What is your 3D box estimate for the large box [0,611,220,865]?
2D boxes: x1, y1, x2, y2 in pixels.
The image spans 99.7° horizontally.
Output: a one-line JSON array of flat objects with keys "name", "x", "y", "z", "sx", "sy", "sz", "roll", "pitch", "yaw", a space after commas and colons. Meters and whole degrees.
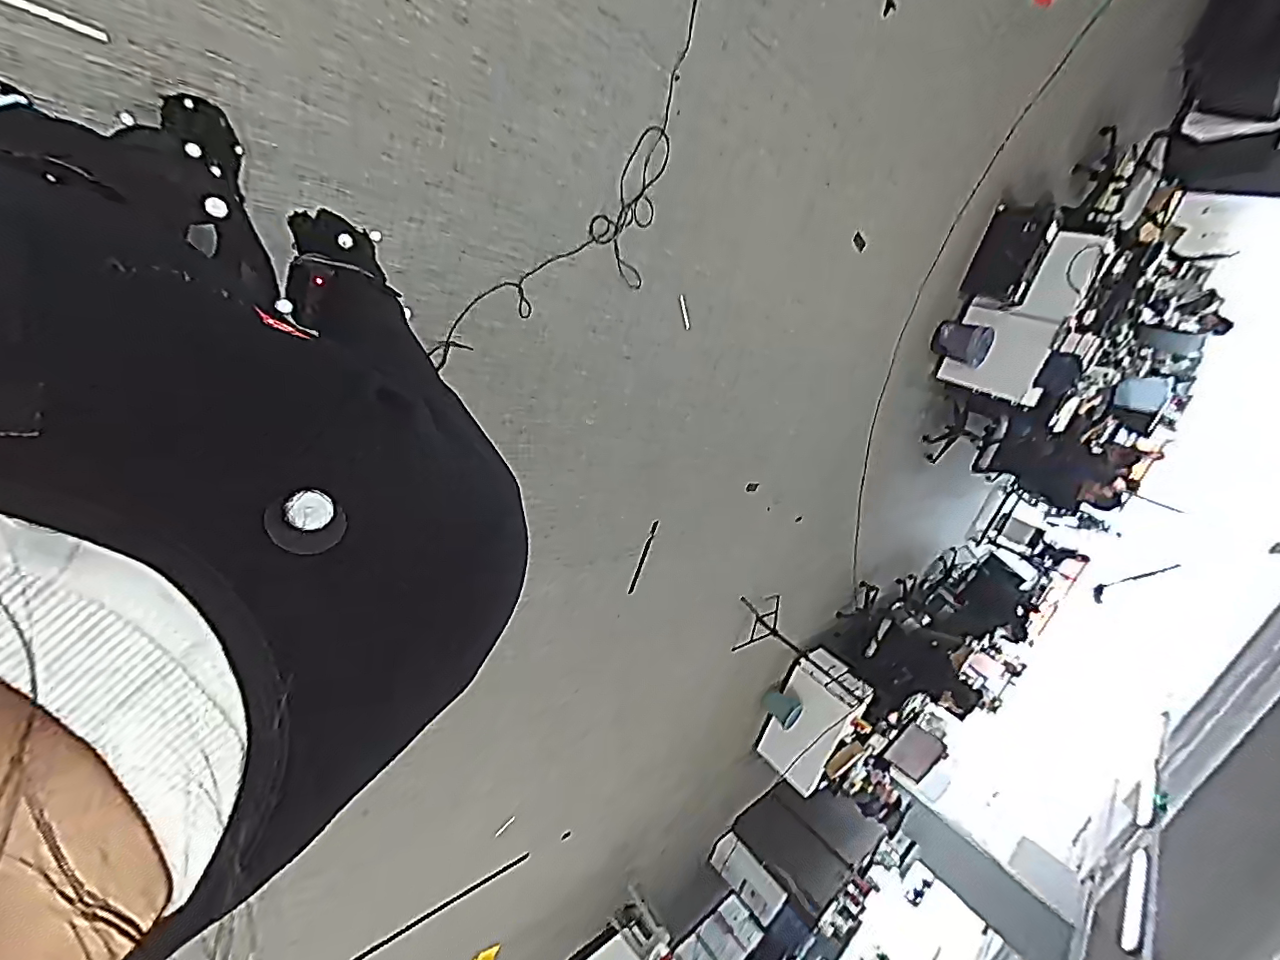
[{"name": "large box", "x": -1.206, "y": 0.542, "z": 1.196, "sx": 0.408, "sy": 0.320, "sz": 0.320, "roll": -6, "pitch": 118, "yaw": -42}]
